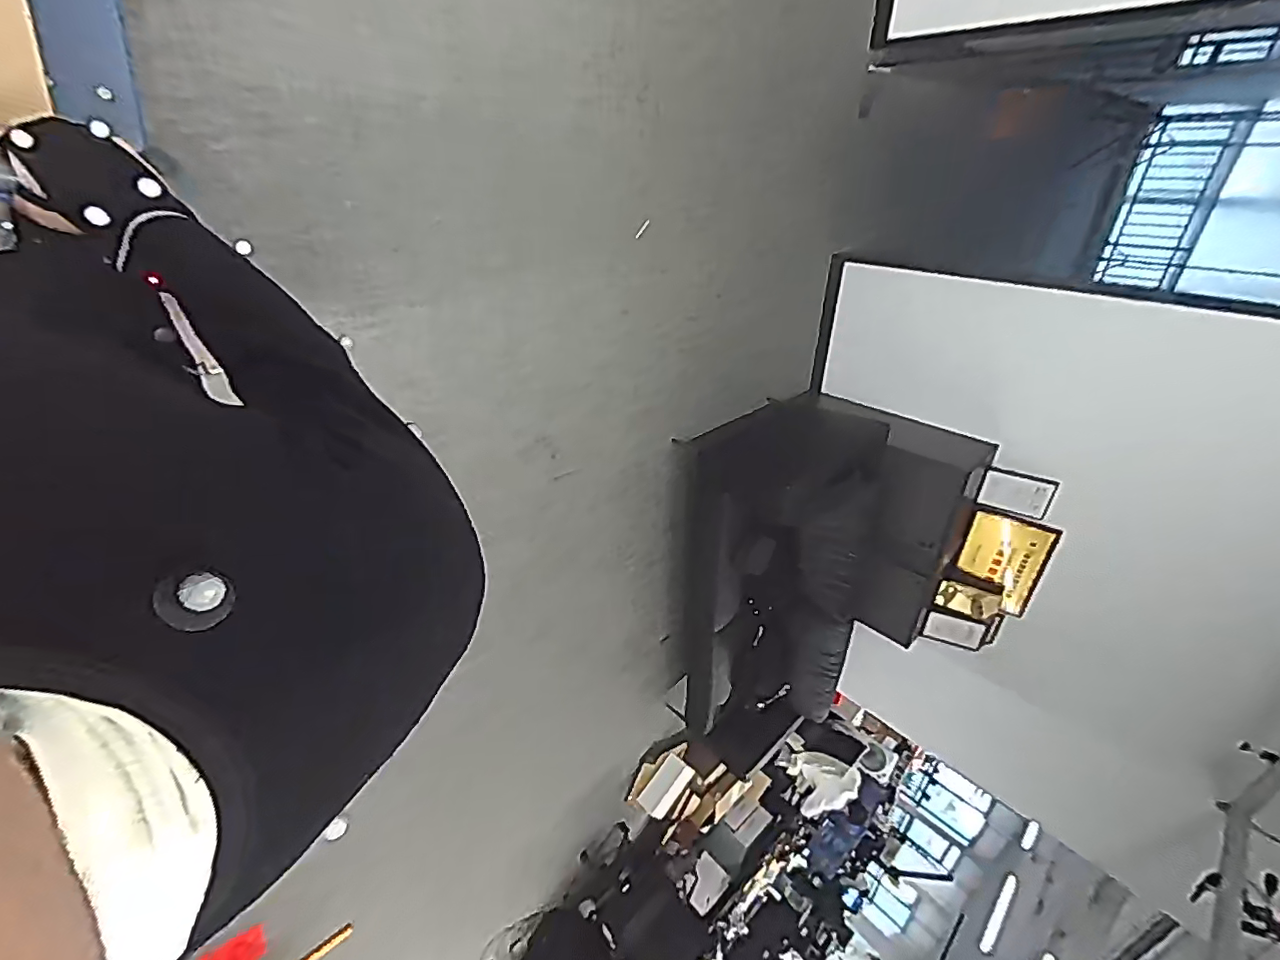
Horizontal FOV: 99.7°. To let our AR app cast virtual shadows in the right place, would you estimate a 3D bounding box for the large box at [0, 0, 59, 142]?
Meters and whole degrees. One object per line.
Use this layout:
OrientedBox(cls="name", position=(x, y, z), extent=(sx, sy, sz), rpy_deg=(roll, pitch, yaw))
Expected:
OrientedBox(cls="large box", position=(-0.964, -0.663, 0.637), extent=(0.320, 0.320, 0.408), rpy_deg=(-15, 122, -44))
